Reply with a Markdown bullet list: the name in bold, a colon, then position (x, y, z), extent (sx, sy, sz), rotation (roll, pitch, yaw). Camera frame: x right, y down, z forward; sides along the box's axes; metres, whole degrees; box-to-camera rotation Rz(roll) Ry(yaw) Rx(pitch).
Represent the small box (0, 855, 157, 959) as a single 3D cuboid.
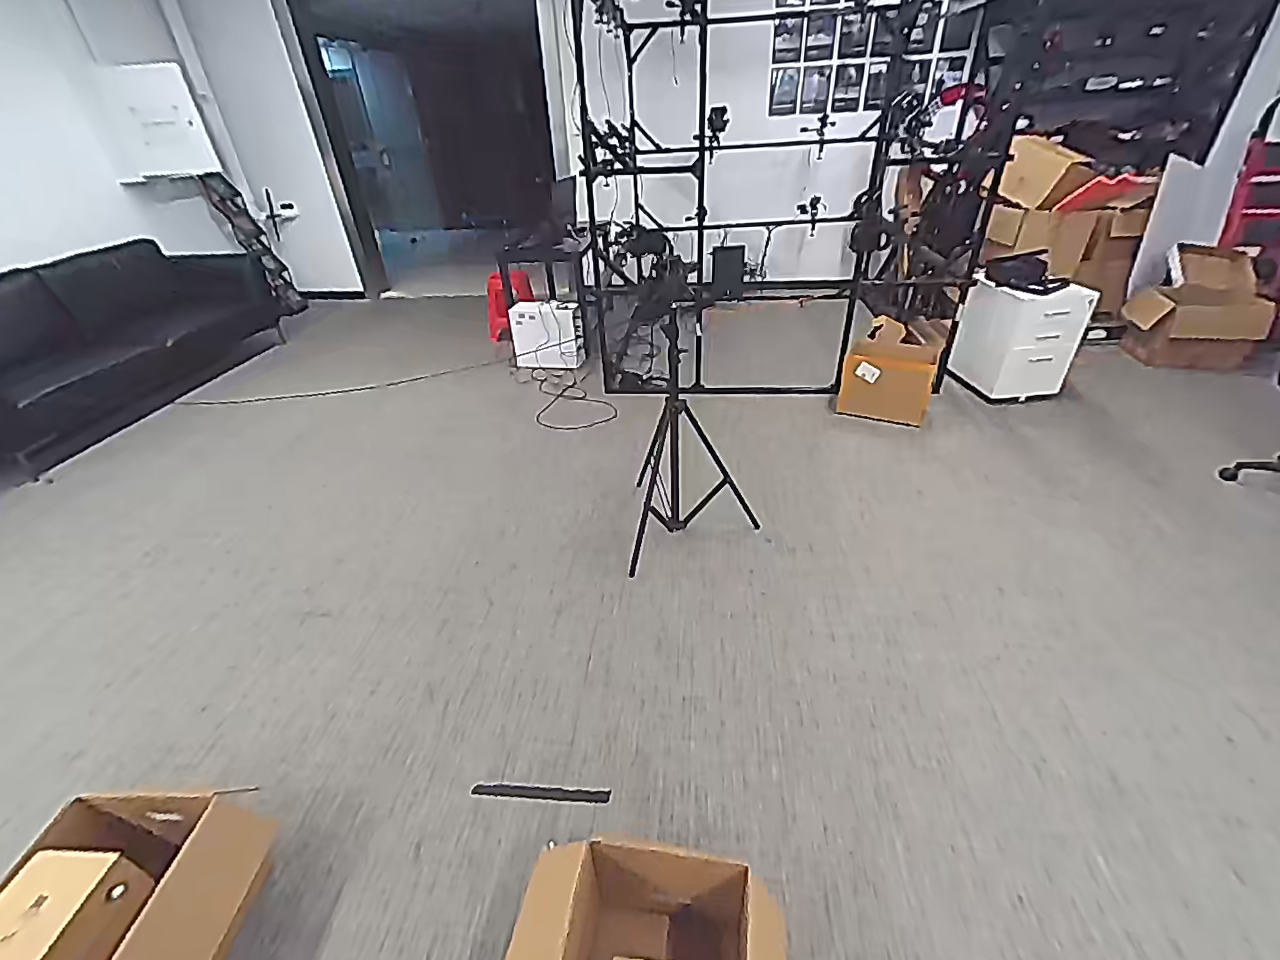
- **small box**: position (-1.041, 0.819, 0.983), extent (0.168, 0.176, 0.179), rotation (-1, 34, 4)
